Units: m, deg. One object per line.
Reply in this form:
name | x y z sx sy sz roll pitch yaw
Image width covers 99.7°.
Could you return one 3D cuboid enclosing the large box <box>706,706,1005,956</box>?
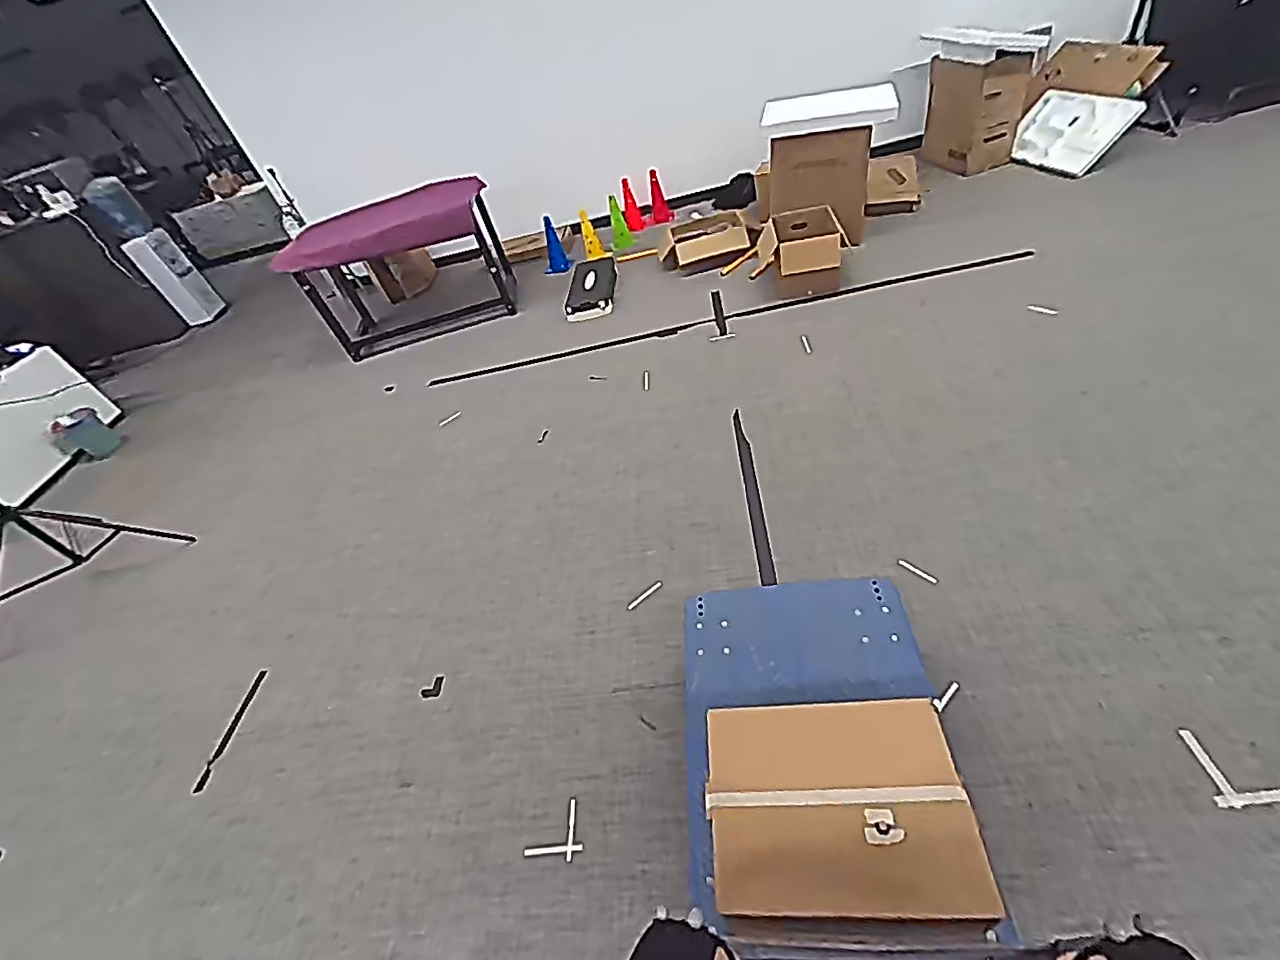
large box | 0.345 0.639 0.979 0.408 0.320 0.320 -8 44 10
